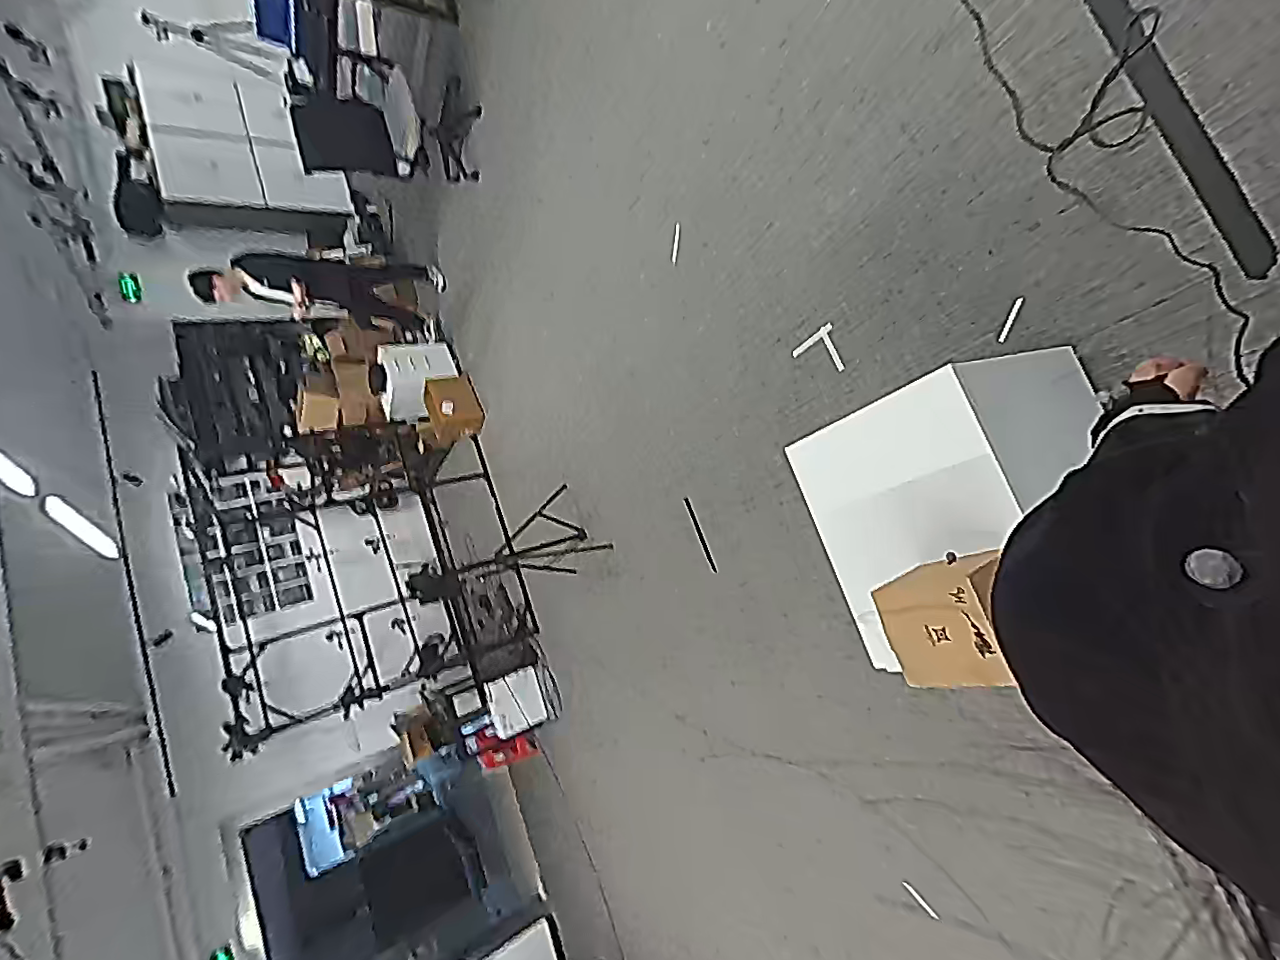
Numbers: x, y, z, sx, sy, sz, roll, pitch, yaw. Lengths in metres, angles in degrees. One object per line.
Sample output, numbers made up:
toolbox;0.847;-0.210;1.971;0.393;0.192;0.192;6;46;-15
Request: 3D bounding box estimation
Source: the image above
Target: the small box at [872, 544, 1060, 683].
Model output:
small box;0.526;0.217;0.880;0.179;0.176;0.168;-34;73;56
